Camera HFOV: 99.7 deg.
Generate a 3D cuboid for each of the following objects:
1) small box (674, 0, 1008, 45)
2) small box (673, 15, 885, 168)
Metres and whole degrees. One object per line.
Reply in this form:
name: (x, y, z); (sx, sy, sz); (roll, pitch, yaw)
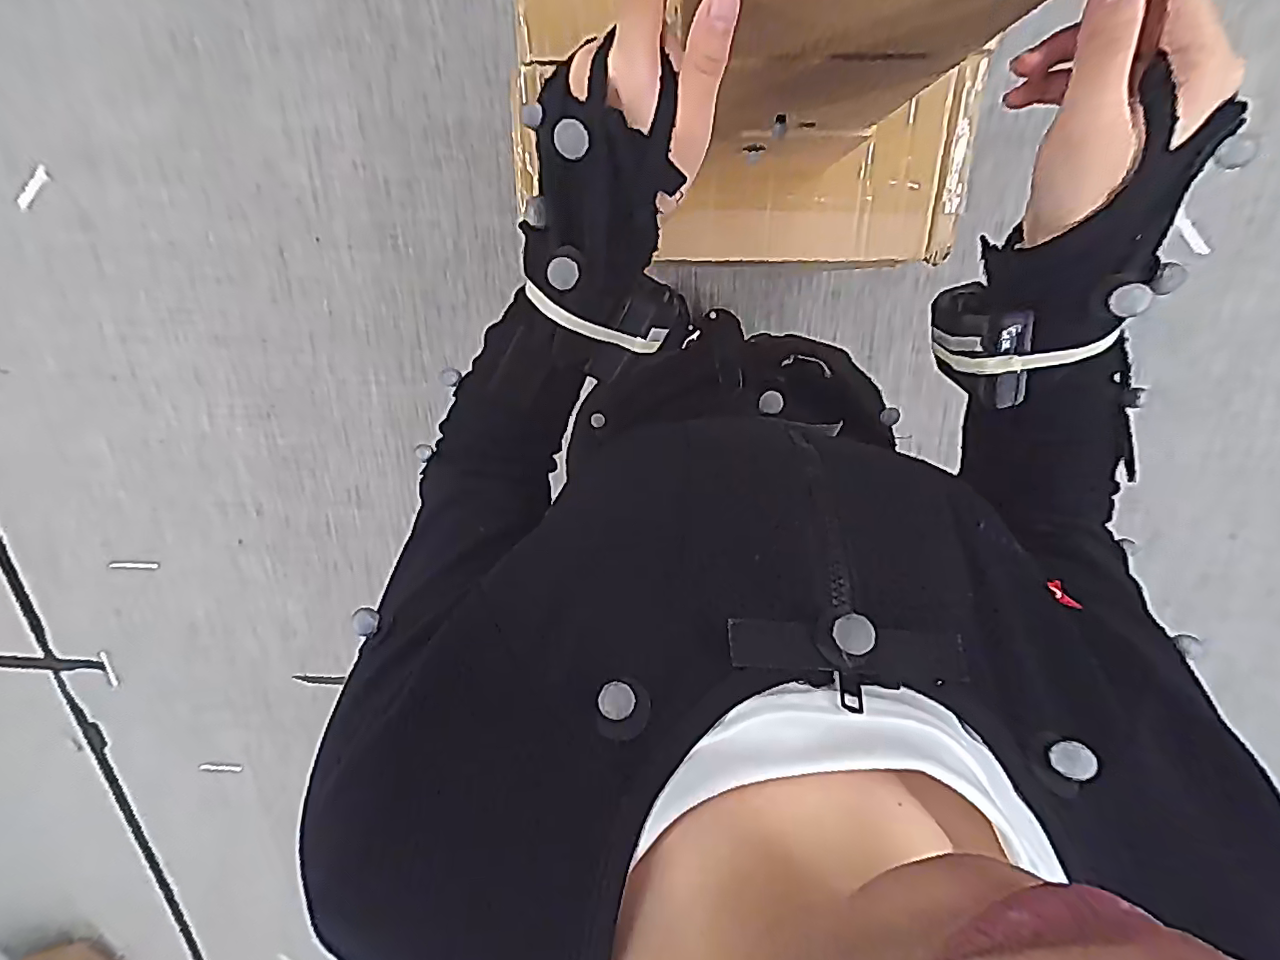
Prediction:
small box: (0.104, -0.301, 0.210); (0.179, 0.176, 0.168); (2, 111, 3)
small box: (0.122, -0.409, 0.521); (0.179, 0.176, 0.168); (2, 111, 3)
